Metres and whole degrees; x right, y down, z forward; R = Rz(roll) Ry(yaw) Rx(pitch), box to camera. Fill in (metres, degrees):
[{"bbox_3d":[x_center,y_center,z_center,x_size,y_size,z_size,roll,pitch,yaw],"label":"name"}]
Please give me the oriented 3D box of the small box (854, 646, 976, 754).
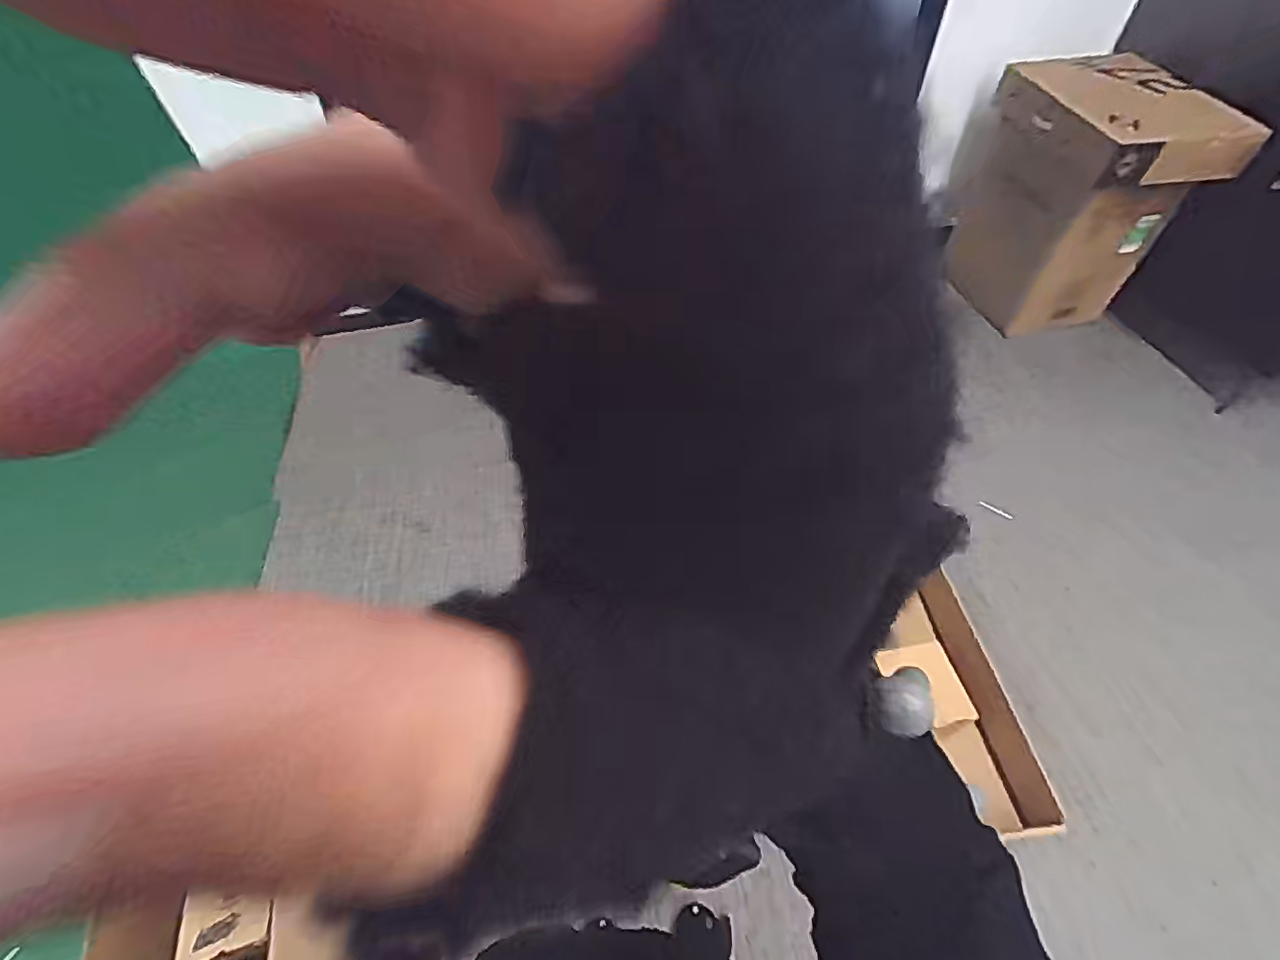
[{"bbox_3d":[0.623,0.512,1.256,0.168,0.176,0.179,-9,52,-5],"label":"small box"}]
